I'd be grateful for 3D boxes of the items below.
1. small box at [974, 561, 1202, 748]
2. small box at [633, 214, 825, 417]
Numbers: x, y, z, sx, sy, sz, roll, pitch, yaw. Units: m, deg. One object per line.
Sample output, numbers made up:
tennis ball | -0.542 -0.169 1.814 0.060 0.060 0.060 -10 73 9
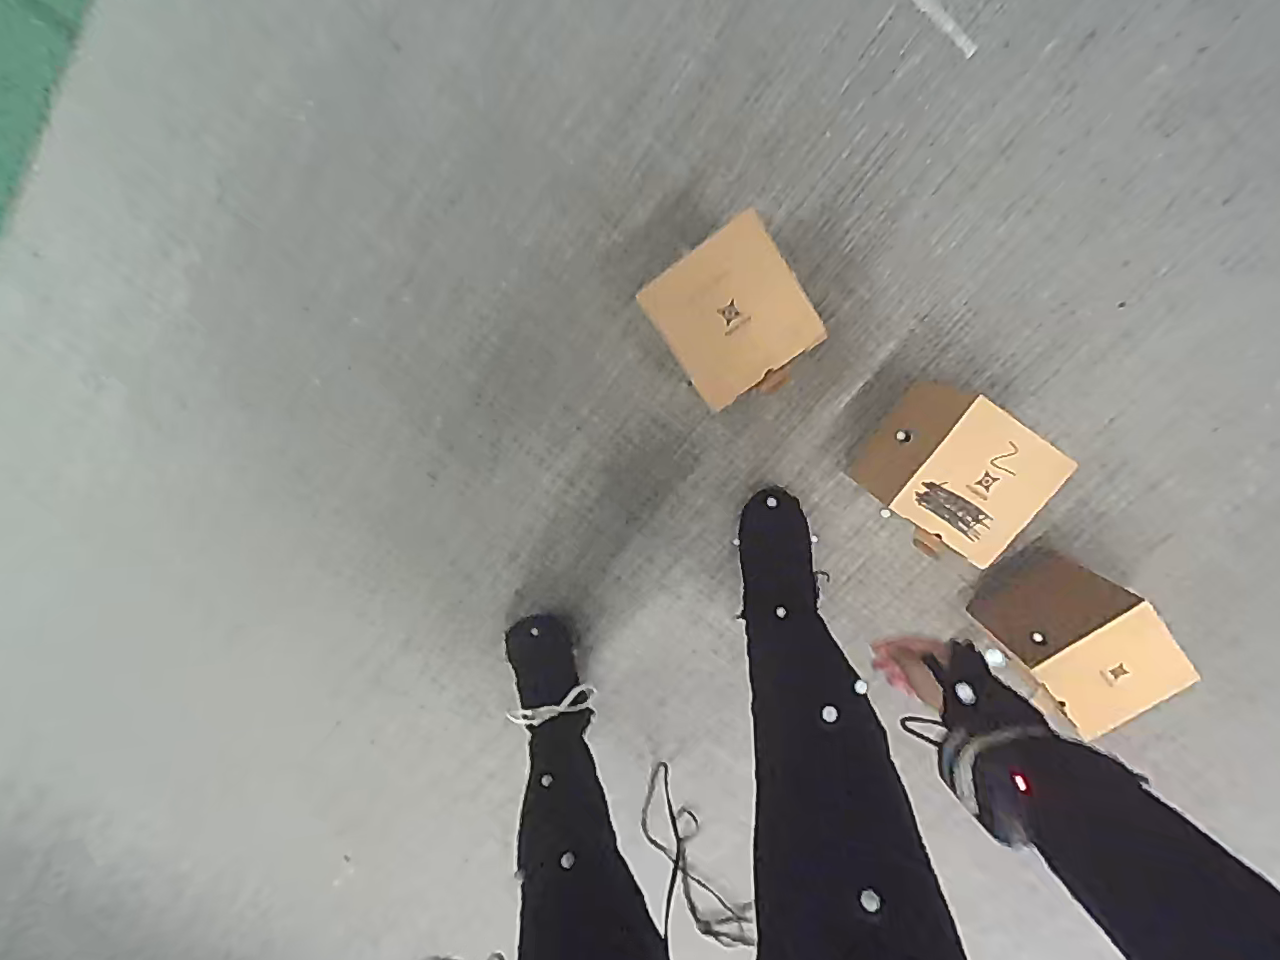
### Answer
small box | 0.665 0.254 0.825 0.179 0.176 0.168 -40 101 12
small box | 0.109 -0.208 0.711 0.168 0.176 0.179 -35 100 9
